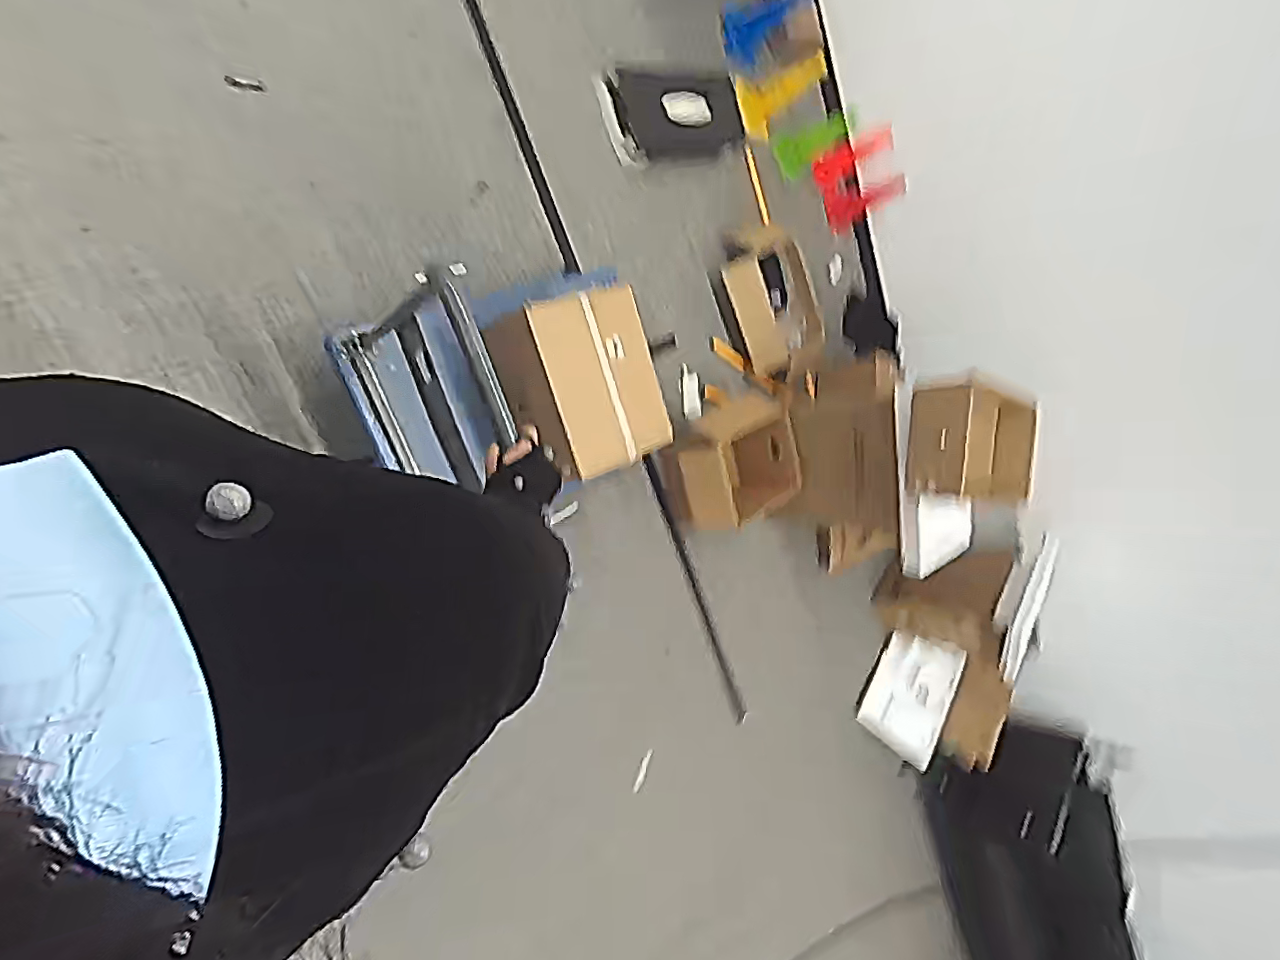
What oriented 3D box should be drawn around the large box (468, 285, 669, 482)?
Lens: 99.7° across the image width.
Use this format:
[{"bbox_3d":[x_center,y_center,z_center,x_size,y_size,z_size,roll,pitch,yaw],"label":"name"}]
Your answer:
[{"bbox_3d":[-0.184,-0.235,1.391,0.320,0.320,0.408,-27,106,-38],"label":"large box"}]
